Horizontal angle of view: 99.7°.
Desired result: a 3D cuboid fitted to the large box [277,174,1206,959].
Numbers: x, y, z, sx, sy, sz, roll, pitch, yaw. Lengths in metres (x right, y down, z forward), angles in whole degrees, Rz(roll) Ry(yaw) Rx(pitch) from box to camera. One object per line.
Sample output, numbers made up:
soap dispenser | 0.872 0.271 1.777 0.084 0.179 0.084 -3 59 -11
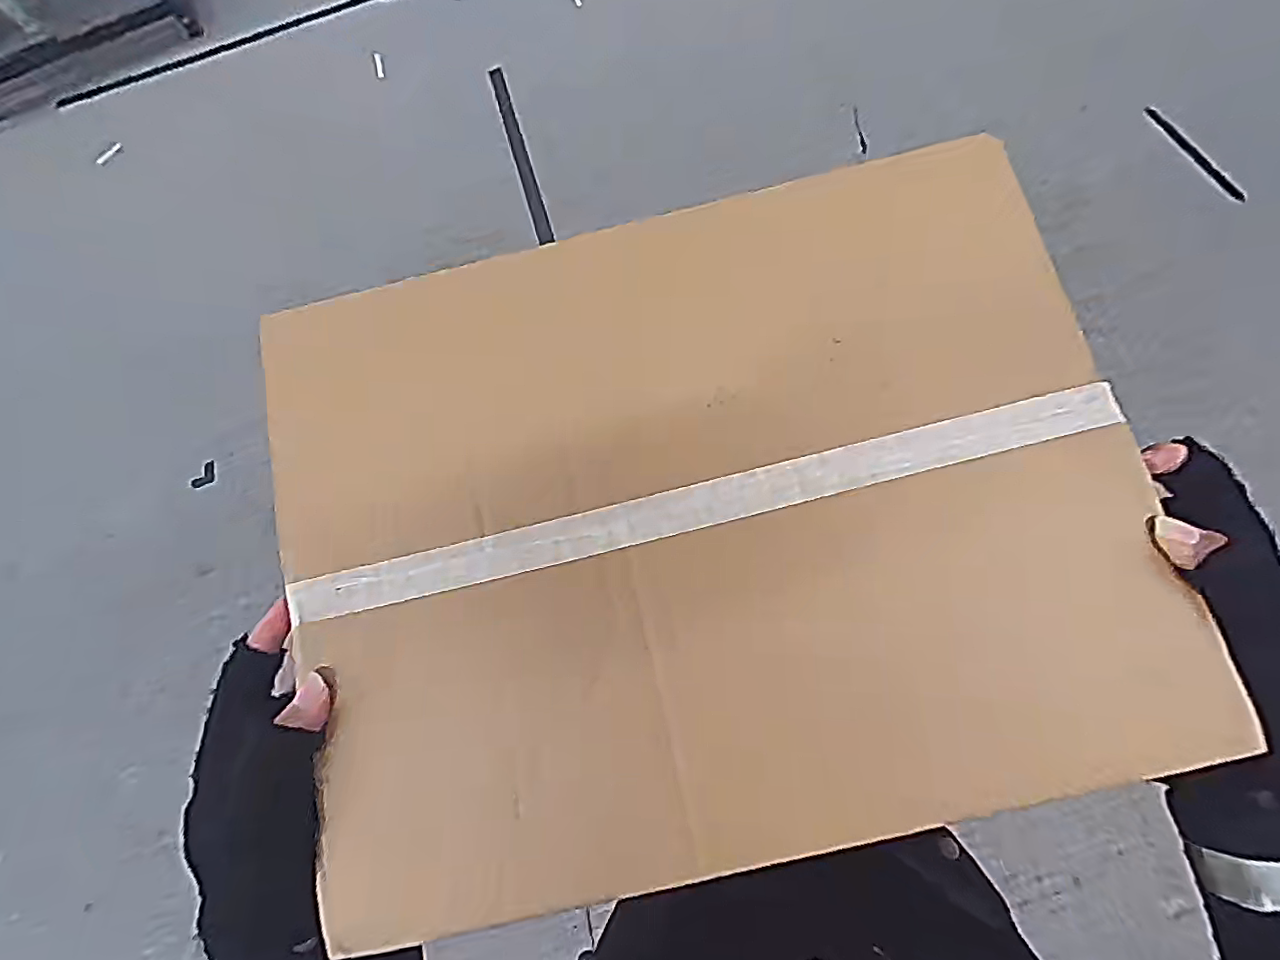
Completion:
large box | 0.035 0.054 0.415 0.408 0.320 0.320 -15 77 1
